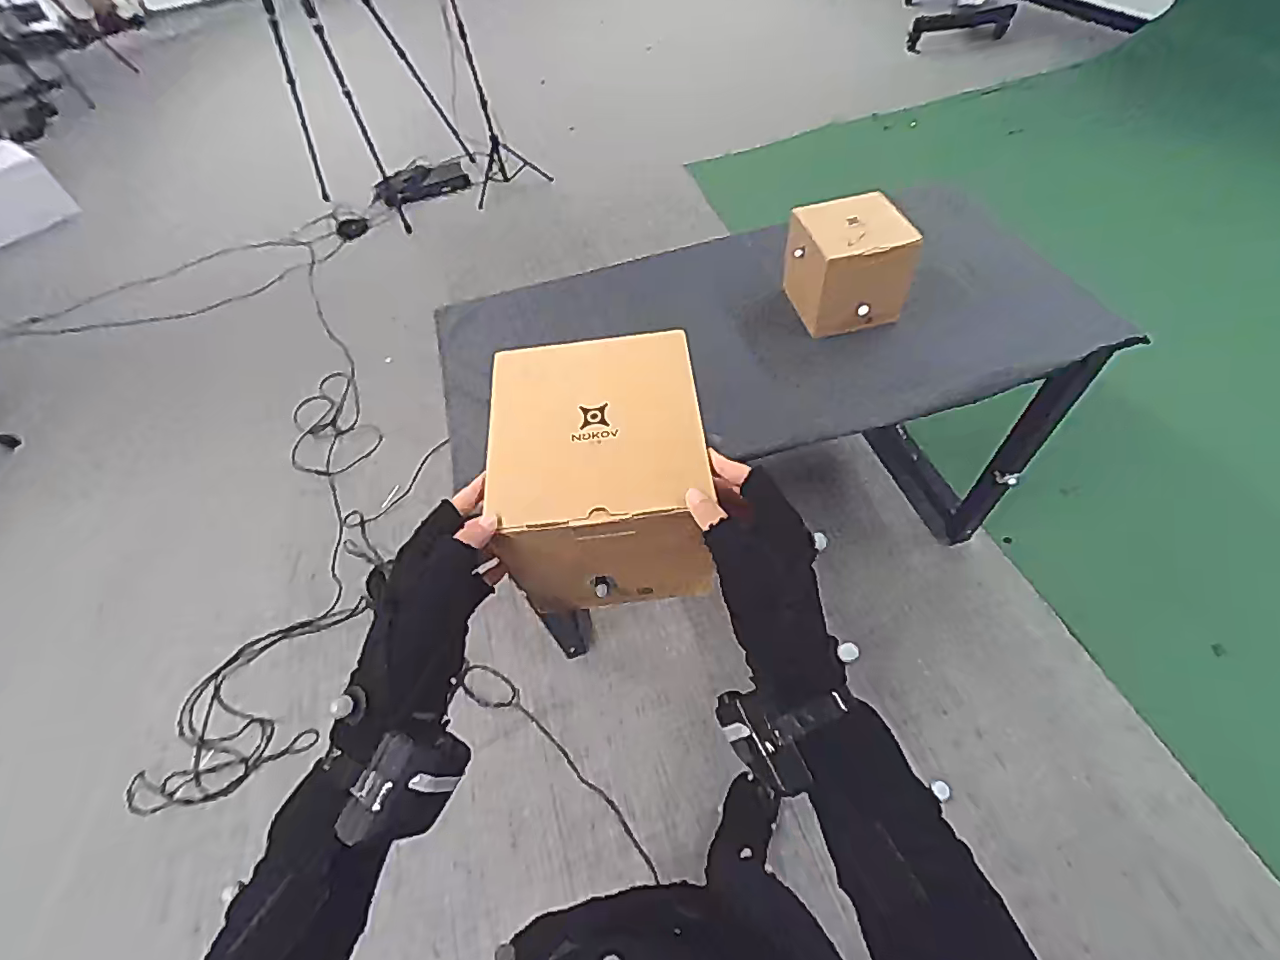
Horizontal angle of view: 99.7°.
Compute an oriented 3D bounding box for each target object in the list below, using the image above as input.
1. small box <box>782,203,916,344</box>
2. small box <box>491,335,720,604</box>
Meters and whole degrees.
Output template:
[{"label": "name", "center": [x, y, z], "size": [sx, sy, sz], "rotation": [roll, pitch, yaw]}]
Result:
[{"label": "small box", "center": [0.375, -0.384, 1.014], "size": [0.168, 0.176, 0.179], "rotation": [-12, 54, -1]}, {"label": "small box", "center": [-0.025, -0.004, 0.493], "size": [0.168, 0.176, 0.179], "rotation": [-7, 58, 1]}]
